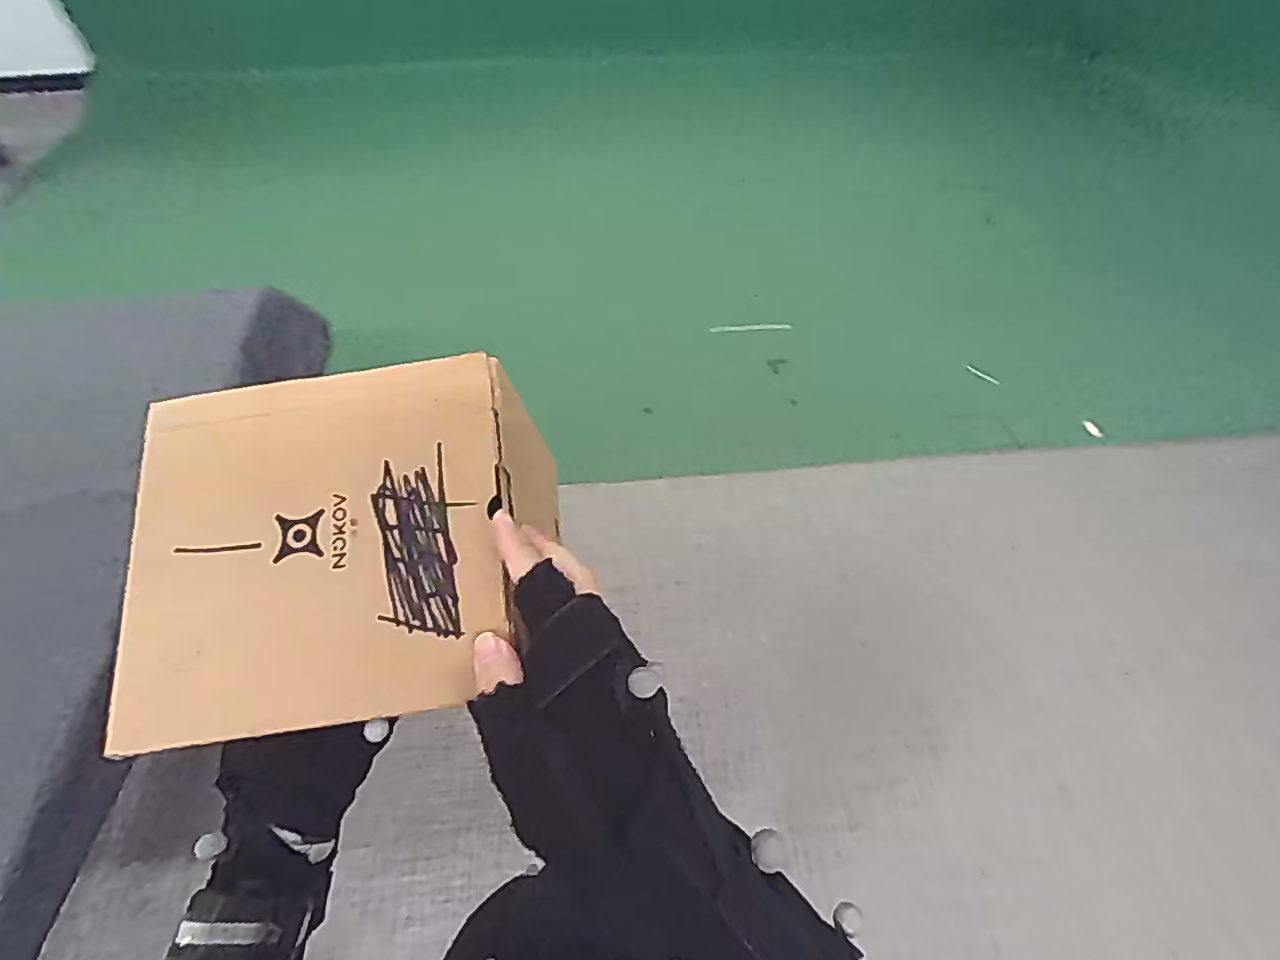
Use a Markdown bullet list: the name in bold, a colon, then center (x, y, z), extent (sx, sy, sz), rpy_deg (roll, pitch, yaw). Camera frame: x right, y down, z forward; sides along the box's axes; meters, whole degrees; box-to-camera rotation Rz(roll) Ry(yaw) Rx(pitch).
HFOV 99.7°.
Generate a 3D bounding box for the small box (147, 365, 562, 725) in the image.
- **small box**: center (-0.150, 0.047, 0.349), extent (0.179, 0.176, 0.168), rpy_deg (-9, 73, 0)
